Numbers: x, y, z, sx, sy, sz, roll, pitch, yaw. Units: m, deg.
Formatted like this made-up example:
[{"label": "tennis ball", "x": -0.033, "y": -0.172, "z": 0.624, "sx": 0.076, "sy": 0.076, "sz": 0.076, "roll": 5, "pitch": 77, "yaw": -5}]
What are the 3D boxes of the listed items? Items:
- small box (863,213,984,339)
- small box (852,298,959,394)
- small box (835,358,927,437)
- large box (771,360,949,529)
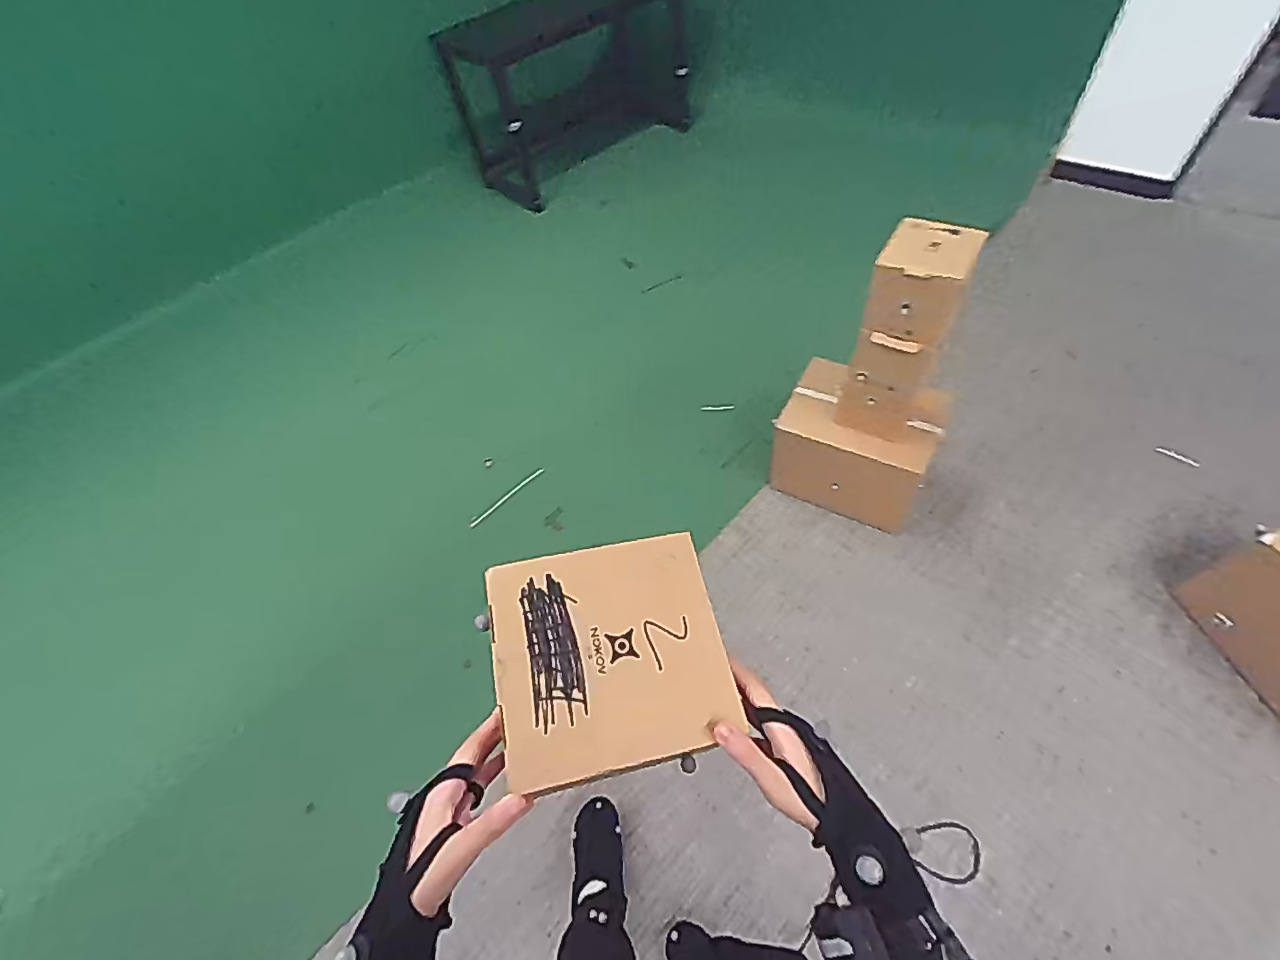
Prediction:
[{"label": "small box", "x": 0.595, "y": -0.431, "z": 1.154, "sx": 0.168, "sy": 0.176, "sz": 0.179, "roll": 25, "pitch": 65, "yaw": 24}, {"label": "small box", "x": 0.620, "y": -0.334, "z": 1.284, "sx": 0.168, "sy": 0.176, "sz": 0.179, "roll": 26, "pitch": 64, "yaw": 25}, {"label": "small box", "x": 0.632, "y": -0.241, "z": 1.419, "sx": 0.179, "sy": 0.176, "sz": 0.168, "roll": 25, "pitch": 64, "yaw": 24}, {"label": "large box", "x": 0.643, "y": -0.108, "z": 1.626, "sx": 0.408, "sy": 0.320, "sz": 0.320, "roll": 21, "pitch": 60, "yaw": 24}]
